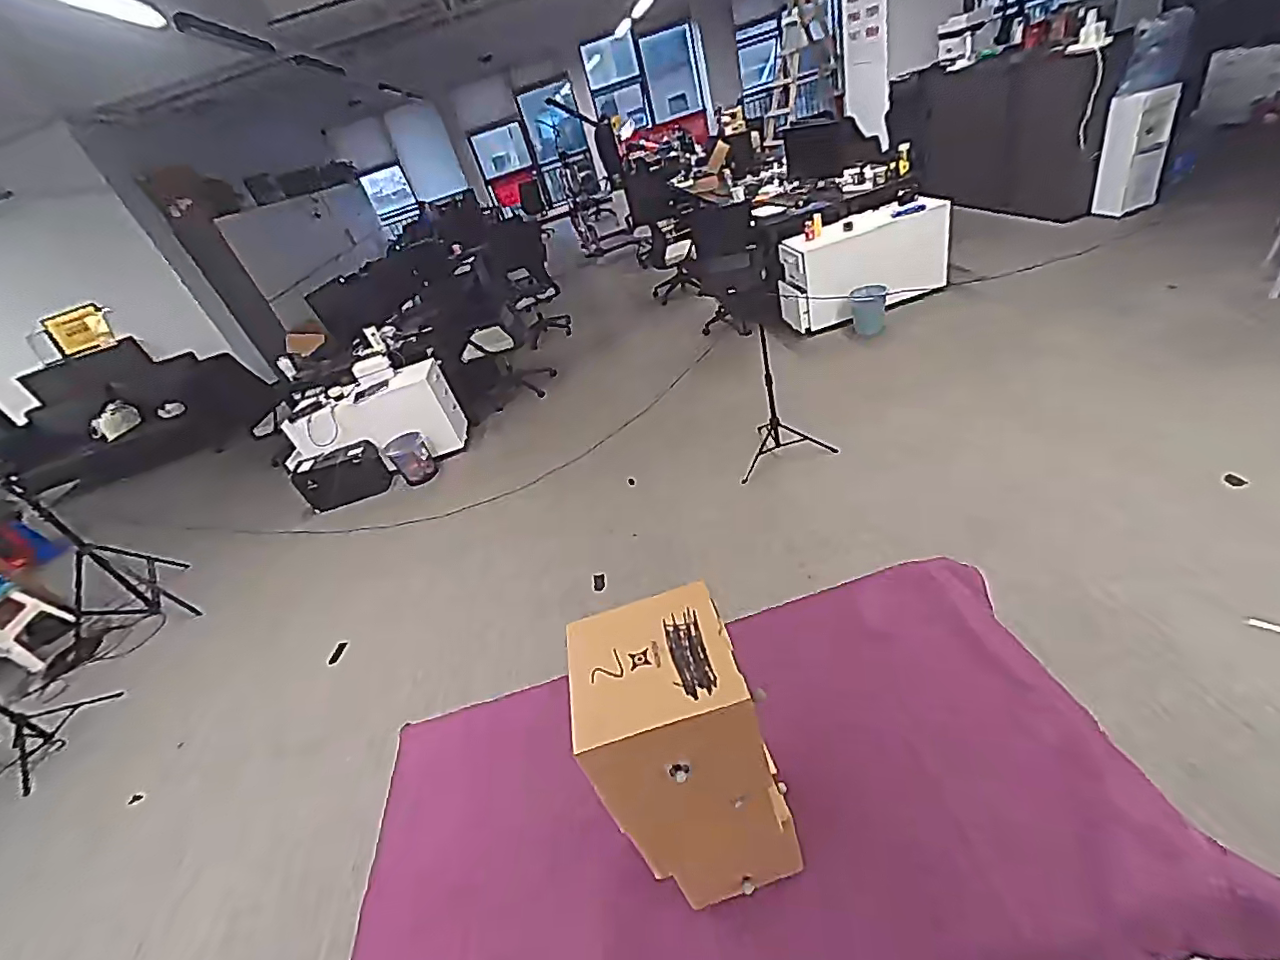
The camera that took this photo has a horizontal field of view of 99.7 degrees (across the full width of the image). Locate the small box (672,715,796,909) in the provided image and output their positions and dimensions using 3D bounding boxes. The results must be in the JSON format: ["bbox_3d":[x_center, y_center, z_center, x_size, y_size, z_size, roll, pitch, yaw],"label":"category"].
[{"bbox_3d":[0.122,0.495,0.809,0.179,0.176,0.168,-19,32,-2],"label":"small box"}]

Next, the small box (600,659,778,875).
[{"bbox_3d":[0.063,0.377,0.711,0.179,0.176,0.168,-19,33,-1],"label":"small box"}]
